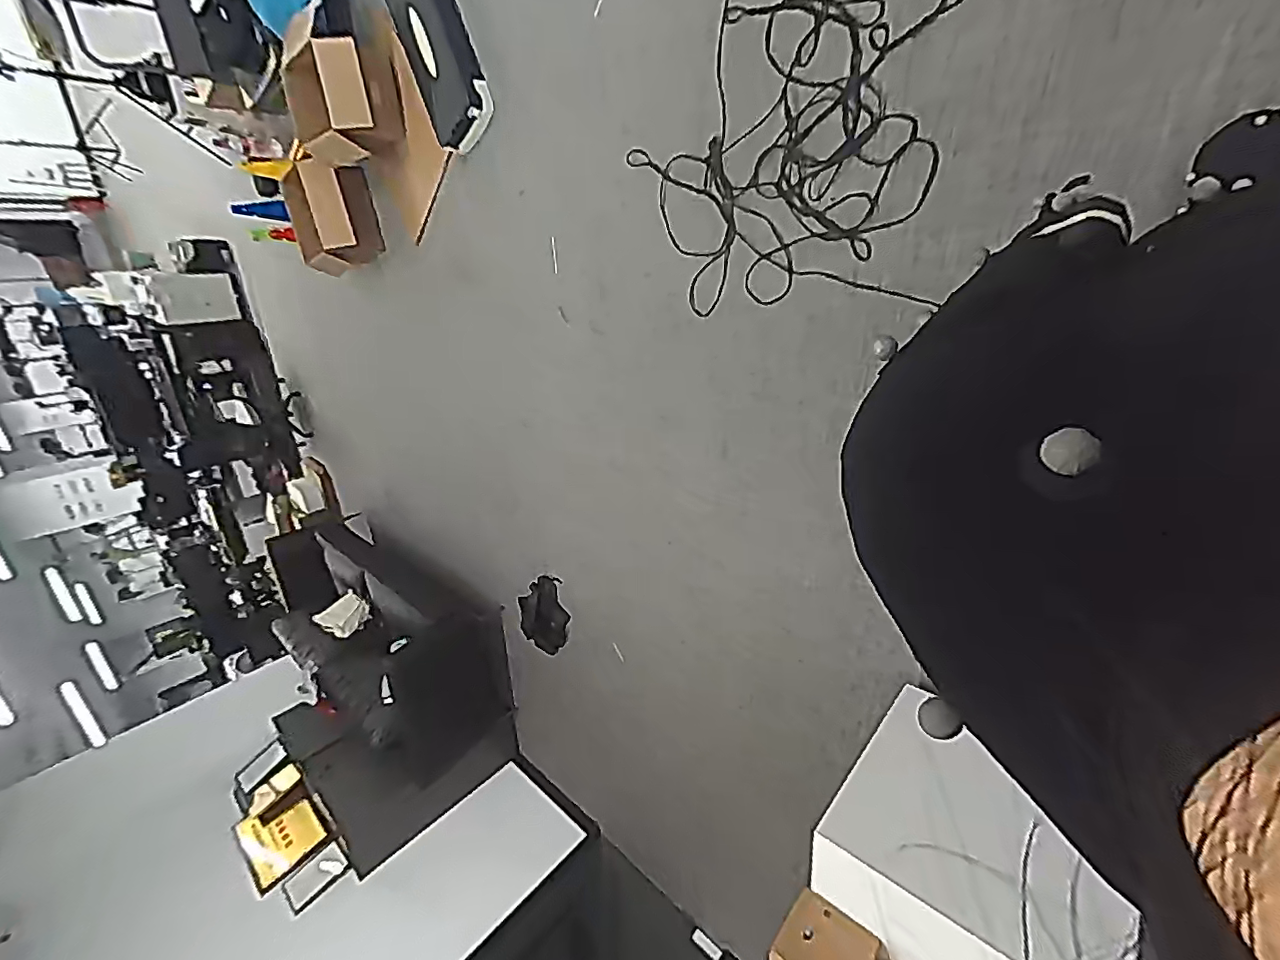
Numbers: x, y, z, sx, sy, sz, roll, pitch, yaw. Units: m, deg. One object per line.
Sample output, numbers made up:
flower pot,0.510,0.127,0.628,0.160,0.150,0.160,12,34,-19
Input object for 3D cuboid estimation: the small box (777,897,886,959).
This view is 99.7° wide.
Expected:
small box,0.394,1.030,1.119,0.168,0.176,0.179,15,119,41
